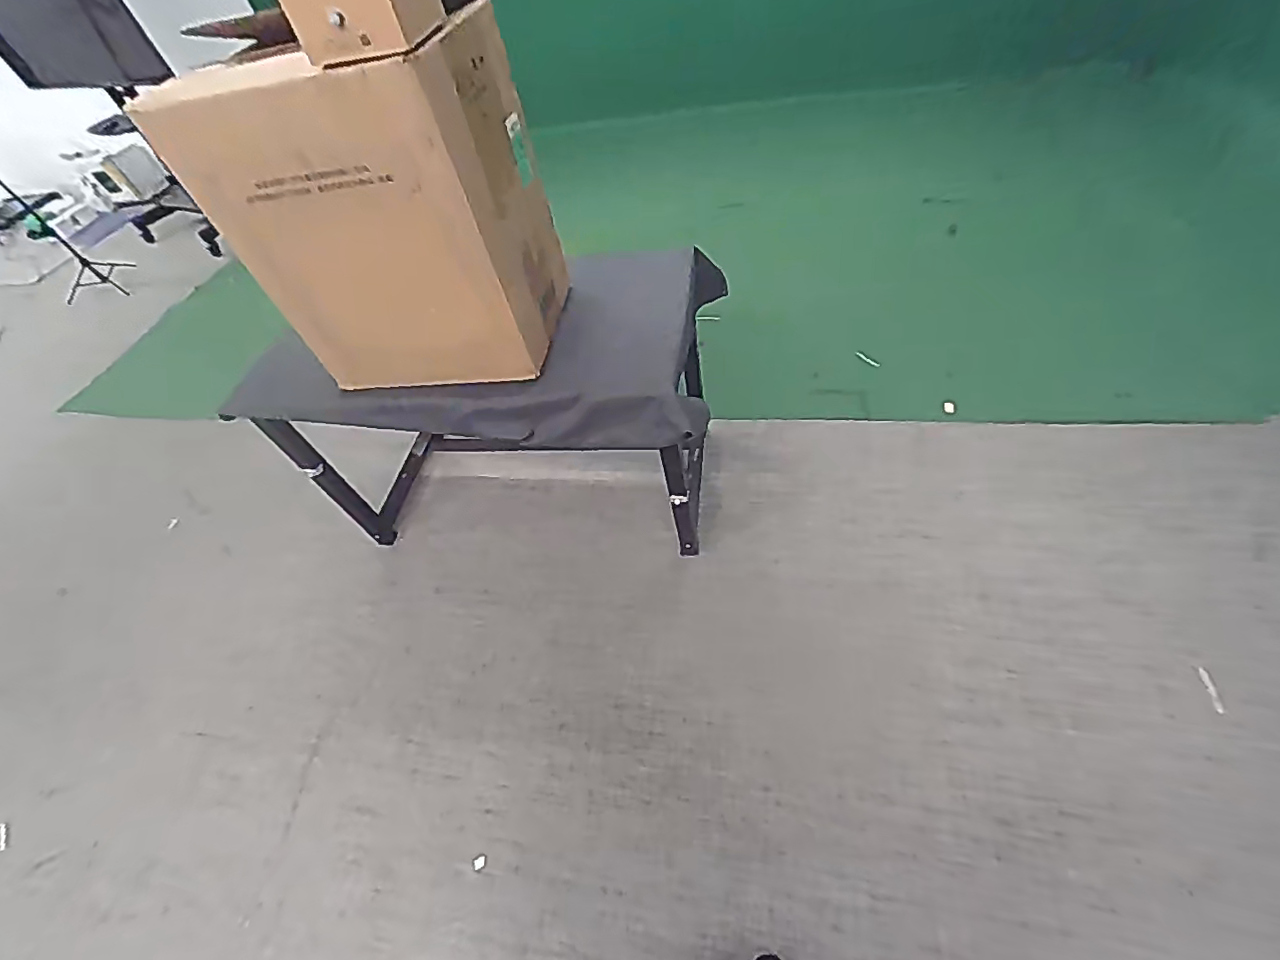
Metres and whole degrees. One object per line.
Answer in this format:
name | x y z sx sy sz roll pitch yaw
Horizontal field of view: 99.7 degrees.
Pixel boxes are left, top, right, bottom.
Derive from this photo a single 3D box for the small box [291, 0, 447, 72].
small box | -0.411 -0.737 0.800 0.168 0.176 0.179 0 53 11
